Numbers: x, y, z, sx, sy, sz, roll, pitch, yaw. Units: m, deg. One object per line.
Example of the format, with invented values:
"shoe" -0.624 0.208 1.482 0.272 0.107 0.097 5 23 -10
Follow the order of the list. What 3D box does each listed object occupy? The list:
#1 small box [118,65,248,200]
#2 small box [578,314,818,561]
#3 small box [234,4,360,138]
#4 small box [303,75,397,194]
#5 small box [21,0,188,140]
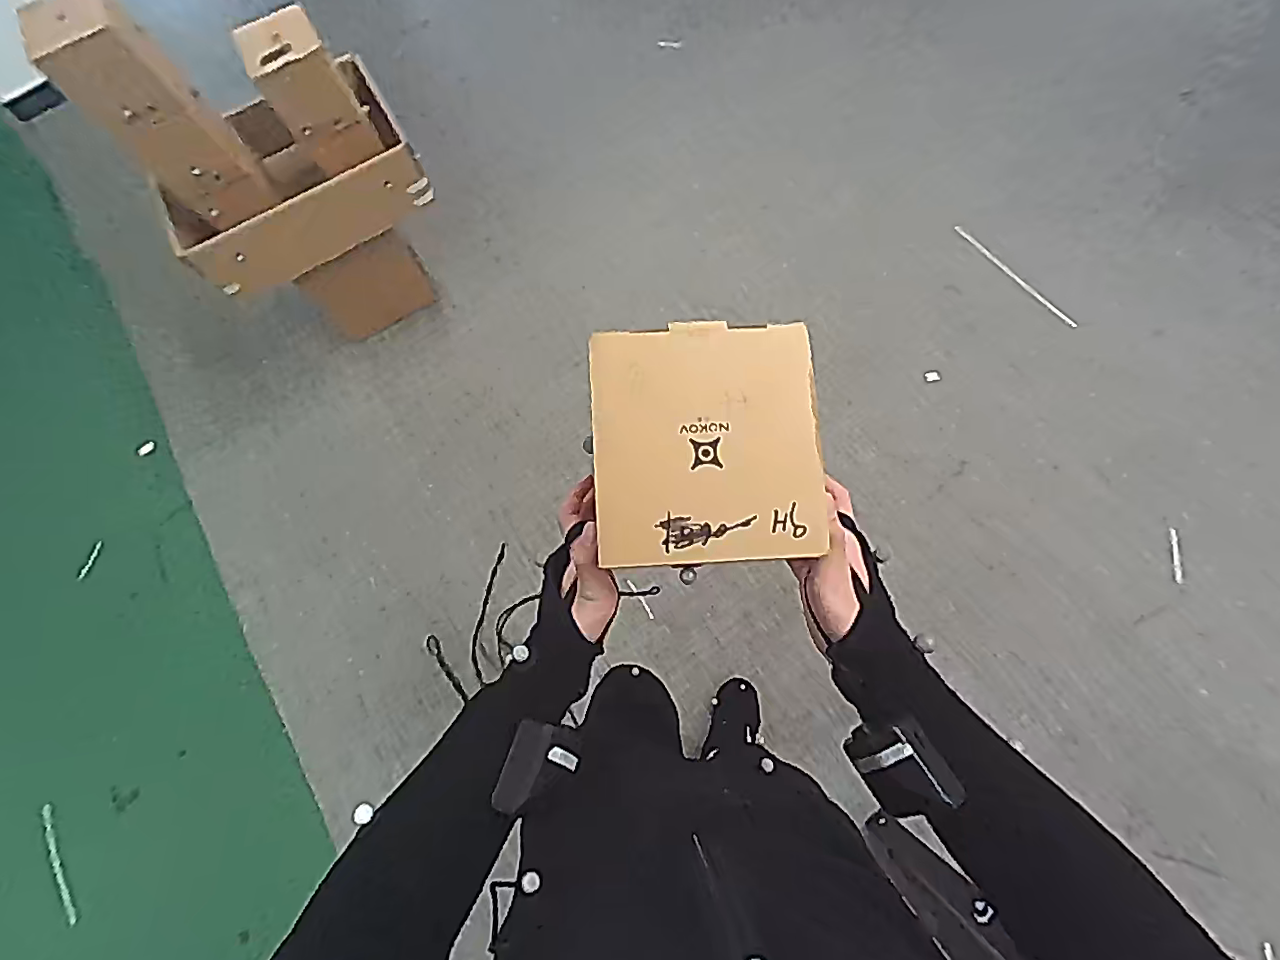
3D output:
"small box" -1.062 -0.798 1.253 0.168 0.176 0.179 -28 73 -2
"small box" 0.038 -0.022 0.468 0.168 0.176 0.179 -4 82 0
"small box" -0.797 -0.948 1.273 0.168 0.176 0.179 -28 73 -4
"small box" -0.784 -0.908 1.433 0.168 0.176 0.179 -30 74 -4
"small box" -1.076 -0.844 1.098 0.168 0.176 0.179 -29 73 -2
